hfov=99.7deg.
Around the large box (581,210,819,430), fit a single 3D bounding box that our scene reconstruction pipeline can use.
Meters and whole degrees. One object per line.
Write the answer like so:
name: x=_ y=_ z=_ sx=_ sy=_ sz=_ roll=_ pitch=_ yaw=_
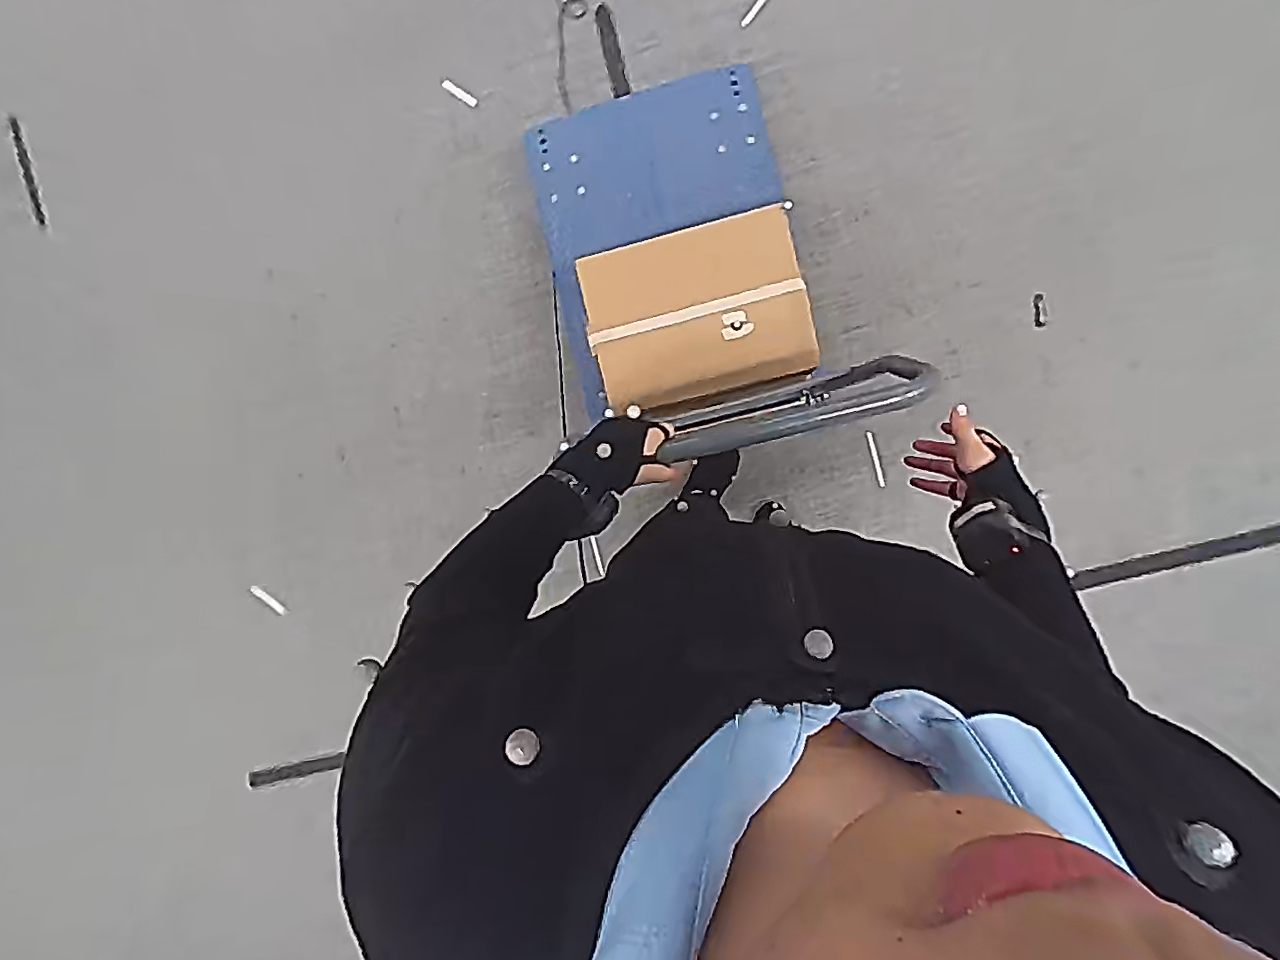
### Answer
large box: x=0.121 y=-0.314 z=1.173 sx=0.408 sy=0.320 sz=0.320 roll=-13 pitch=91 yaw=5
